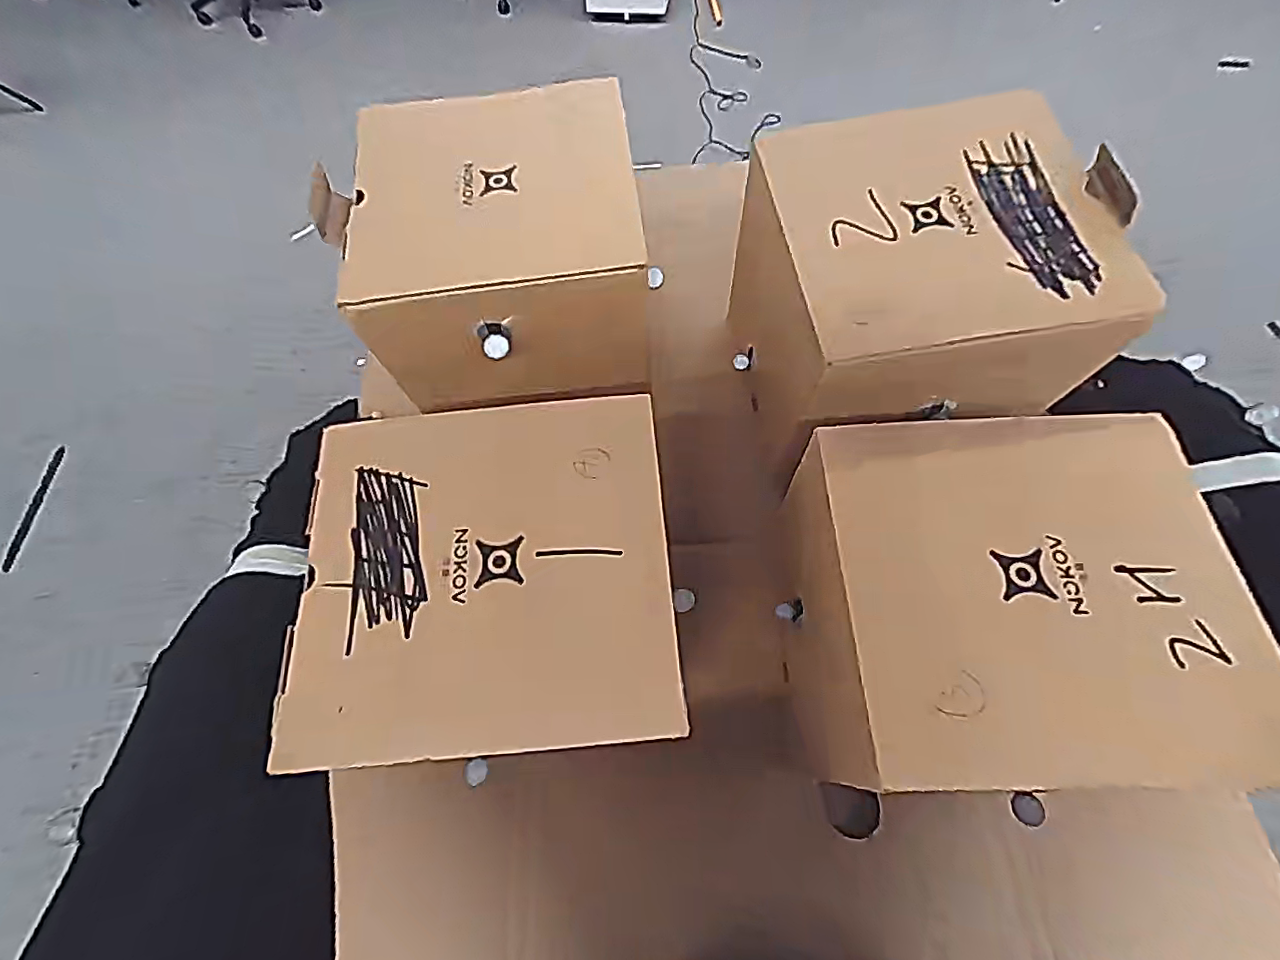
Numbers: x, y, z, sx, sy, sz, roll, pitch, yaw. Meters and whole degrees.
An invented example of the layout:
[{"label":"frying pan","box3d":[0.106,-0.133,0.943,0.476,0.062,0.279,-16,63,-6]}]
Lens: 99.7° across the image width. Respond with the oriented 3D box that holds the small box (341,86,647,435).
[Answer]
[{"label":"small box","box3d":[-0.088,-0.150,0.410,0.179,0.176,0.168,-8,67,1]}]
